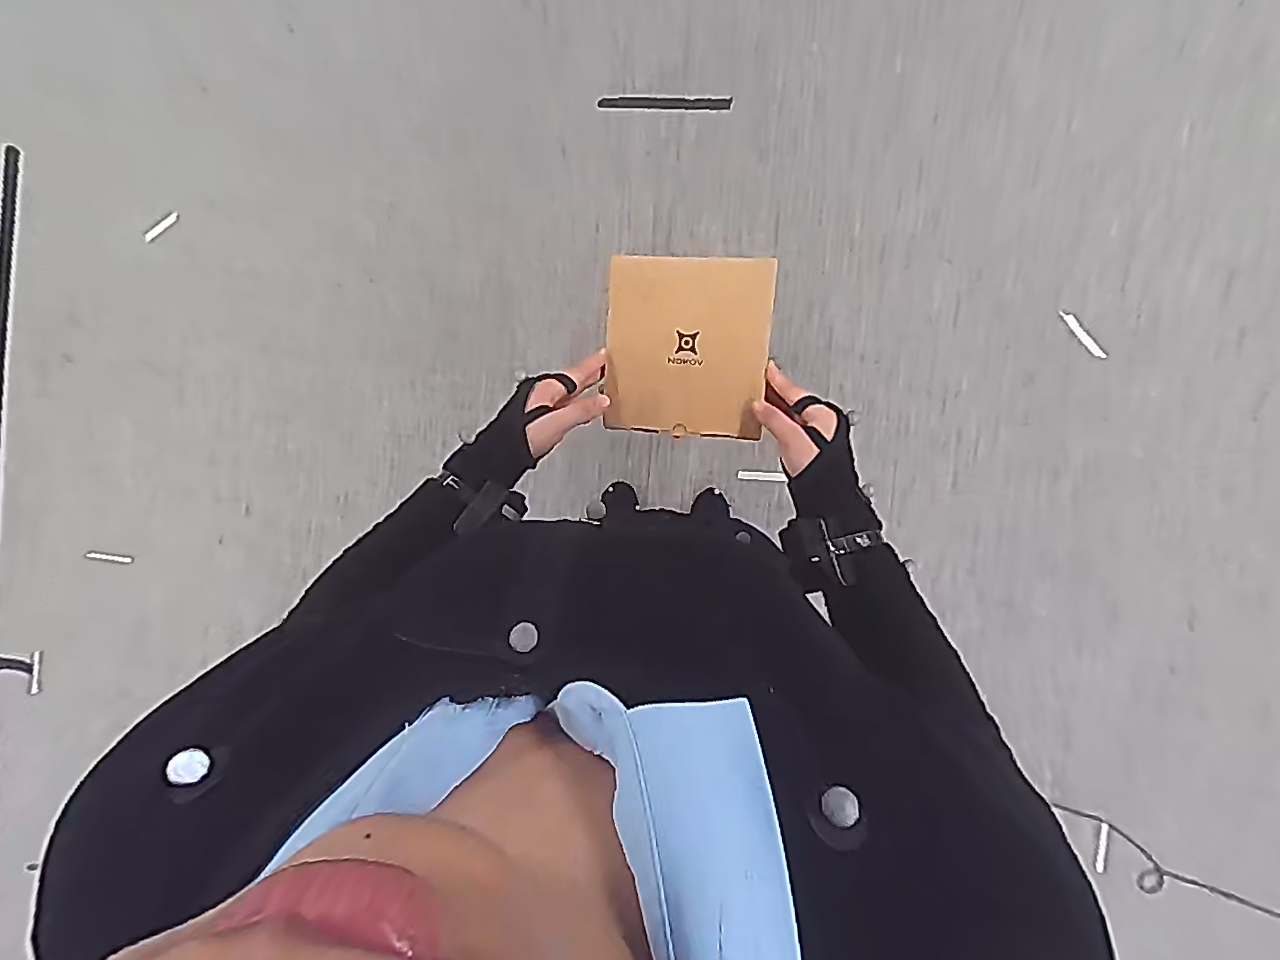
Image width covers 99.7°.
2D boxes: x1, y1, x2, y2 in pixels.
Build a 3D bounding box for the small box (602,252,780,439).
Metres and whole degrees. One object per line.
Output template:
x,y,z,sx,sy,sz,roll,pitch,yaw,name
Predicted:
0.060,-0.145,0.614,0.168,0.176,0.179,5,99,10,small box
